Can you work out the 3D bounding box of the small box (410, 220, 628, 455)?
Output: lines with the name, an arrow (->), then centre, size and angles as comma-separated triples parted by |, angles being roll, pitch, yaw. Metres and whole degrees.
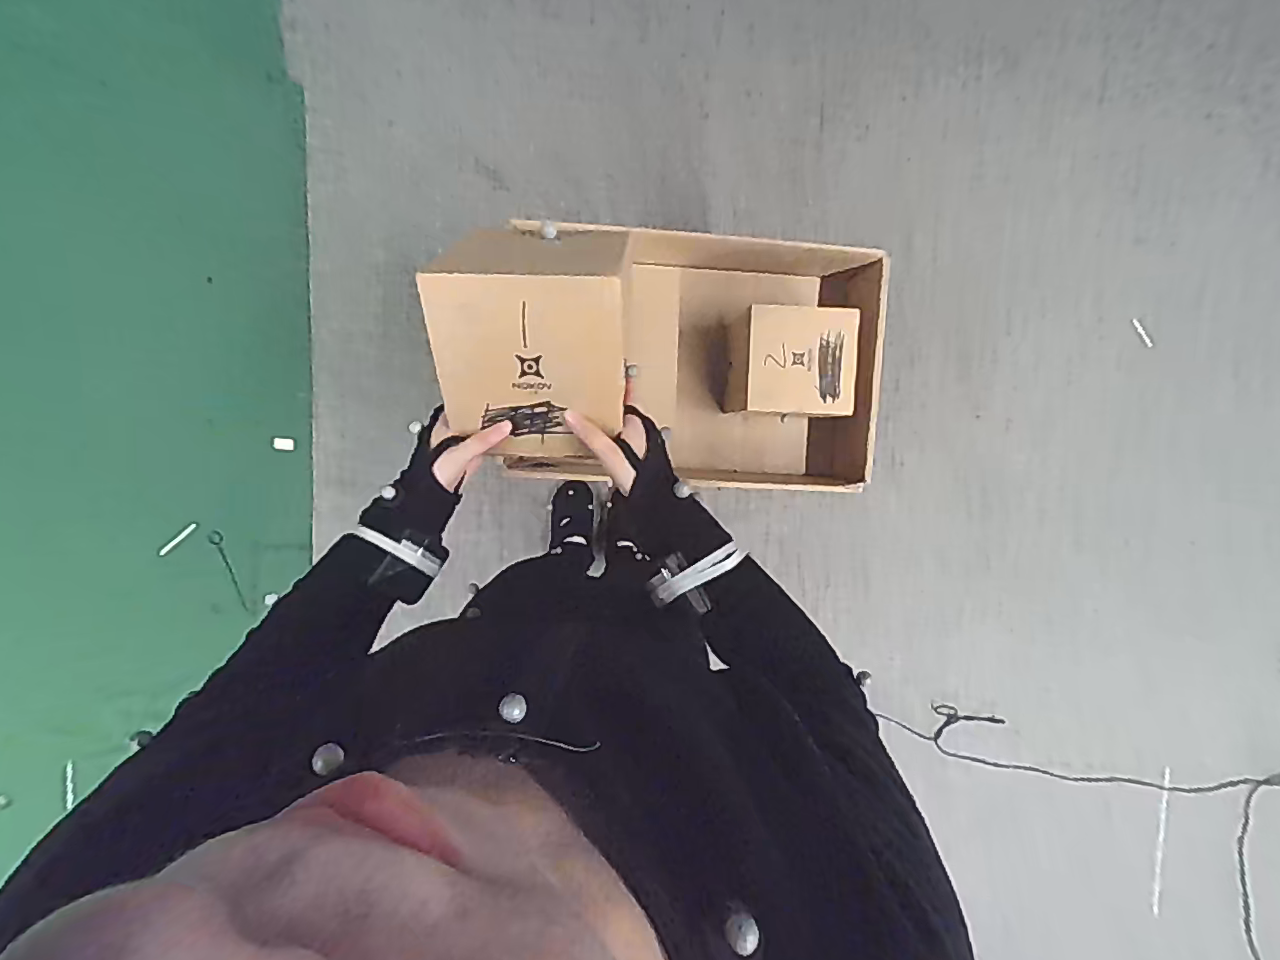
small box -> -0.098, -0.144, 0.536 | 0.168, 0.176, 0.179 | 1, 126, 1
